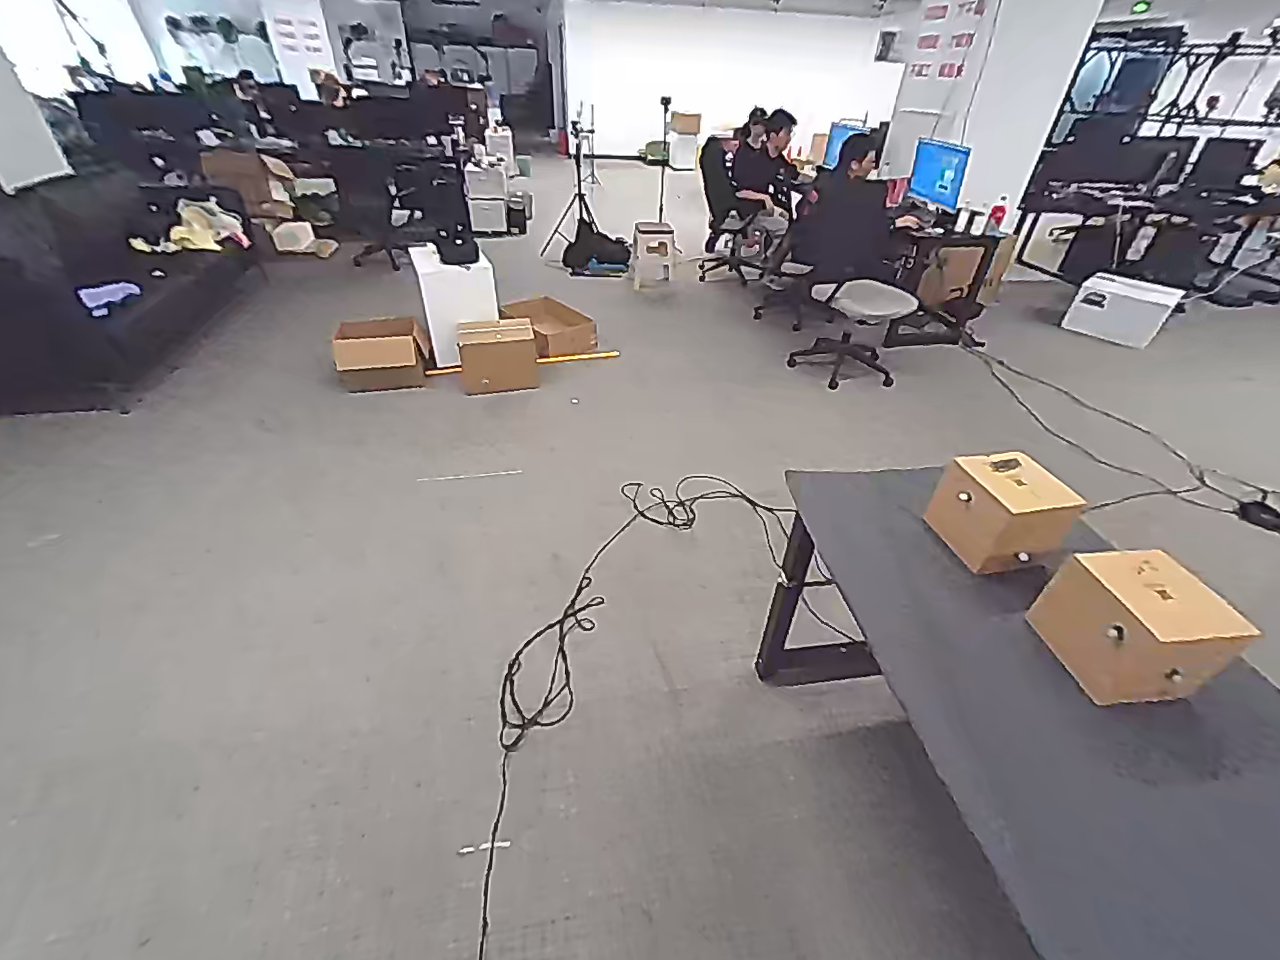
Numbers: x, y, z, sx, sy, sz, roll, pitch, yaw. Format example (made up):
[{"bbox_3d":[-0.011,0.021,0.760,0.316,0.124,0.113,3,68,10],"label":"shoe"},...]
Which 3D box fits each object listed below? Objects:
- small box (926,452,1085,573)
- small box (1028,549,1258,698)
[{"bbox_3d":[0.723,0.063,1.095,0.168,0.176,0.179,-6,39,-10],"label":"small box"},{"bbox_3d":[0.789,0.234,0.874,0.168,0.176,0.179,-2,37,-6],"label":"small box"}]
